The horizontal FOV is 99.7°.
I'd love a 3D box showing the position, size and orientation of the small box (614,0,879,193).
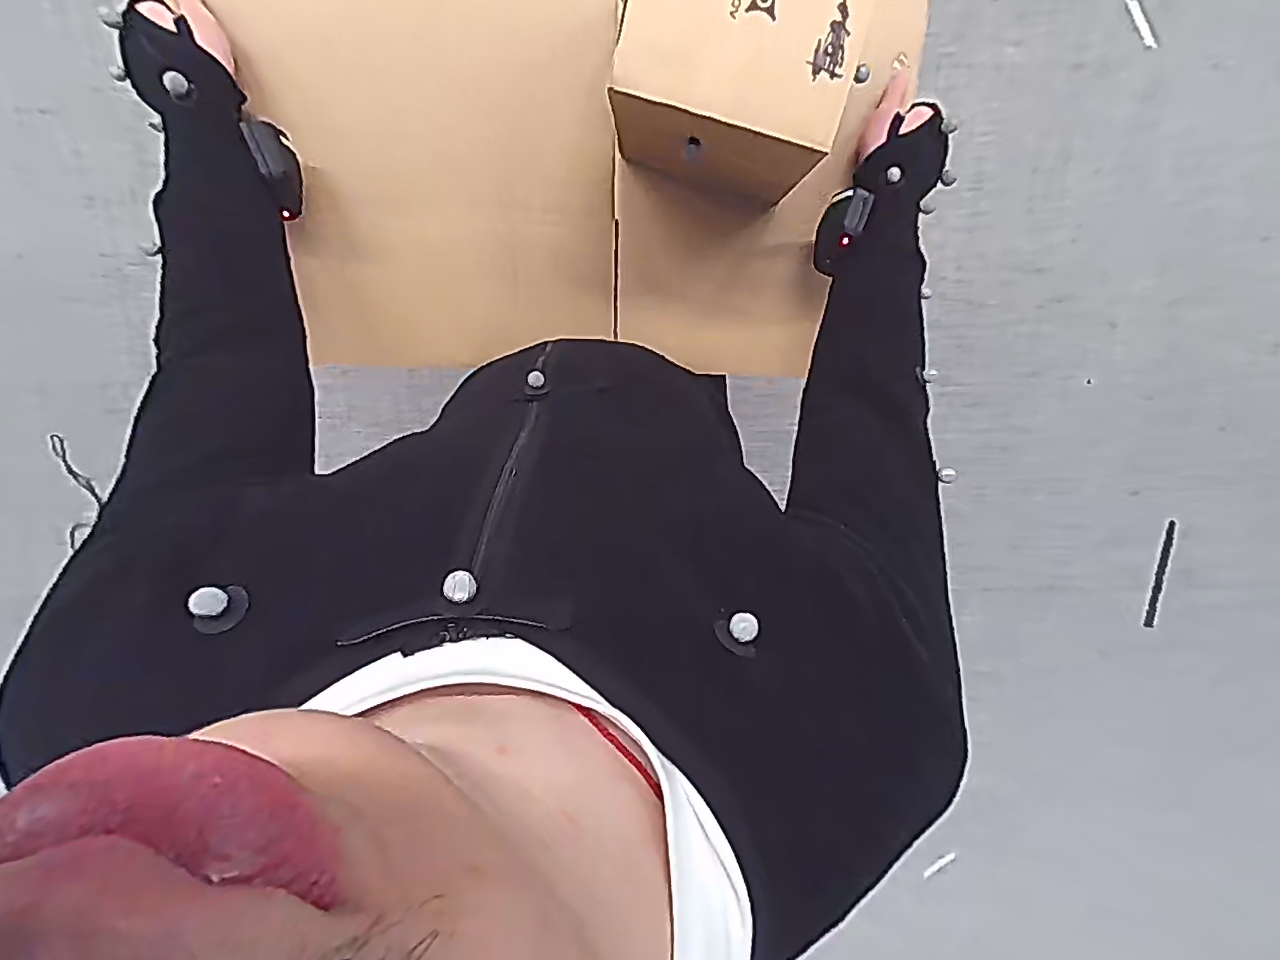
[{"bbox_3d":[0.087,-0.371,0.467,0.179,0.176,0.168,15,106,-2],"label":"small box"}]
